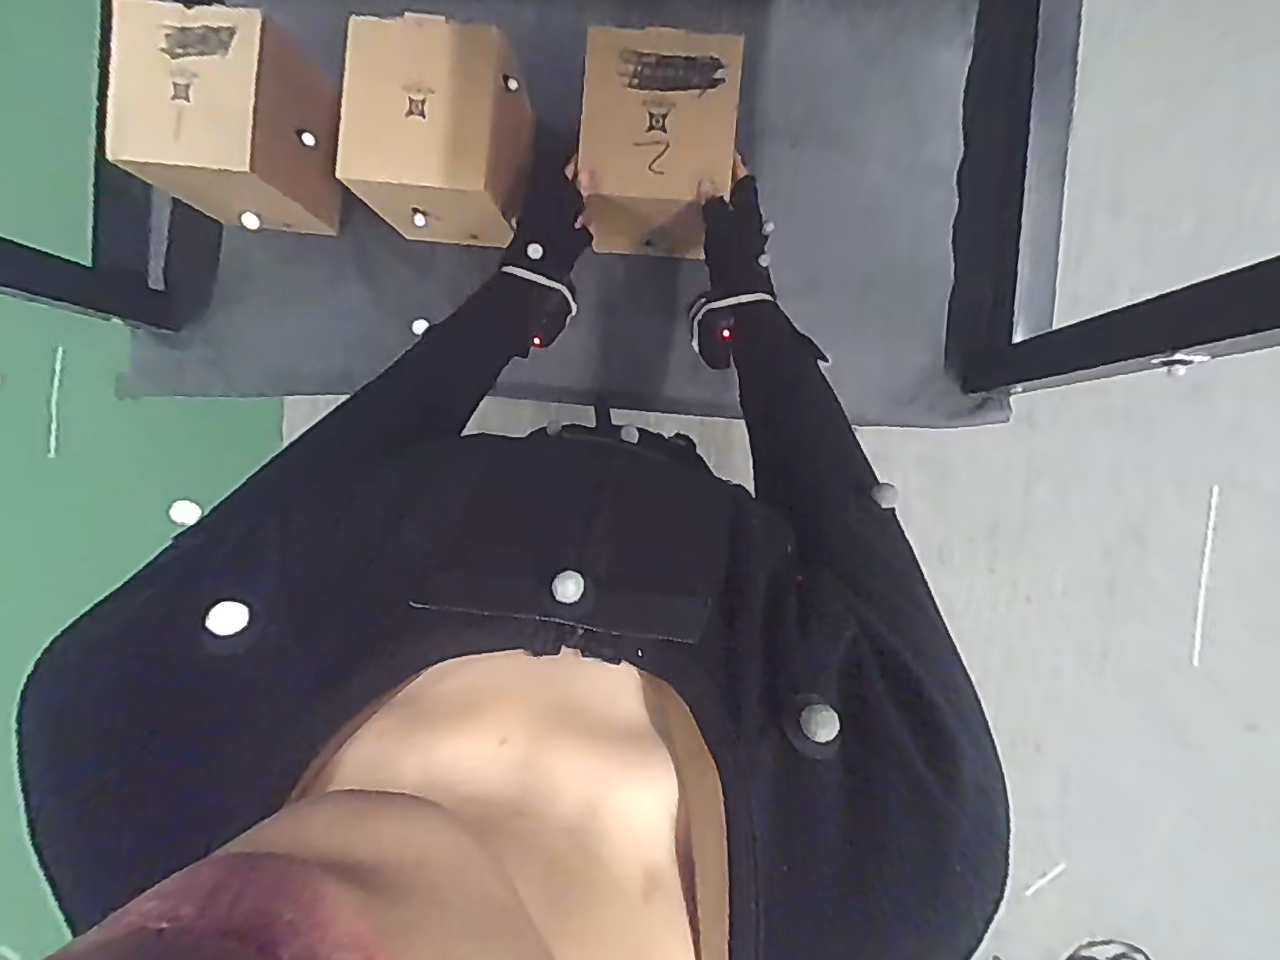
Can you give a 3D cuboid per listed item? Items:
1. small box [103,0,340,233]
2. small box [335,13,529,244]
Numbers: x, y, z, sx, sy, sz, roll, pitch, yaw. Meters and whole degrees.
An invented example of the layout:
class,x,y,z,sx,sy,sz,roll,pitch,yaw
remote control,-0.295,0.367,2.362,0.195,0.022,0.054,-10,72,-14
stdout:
class,x,y,z,sx,sy,sz,roll,pitch,yaw
small box,-0.490,-0.432,0.663,0.168,0.176,0.179,6,93,1
small box,-0.239,-0.409,0.660,0.168,0.176,0.179,6,92,1
